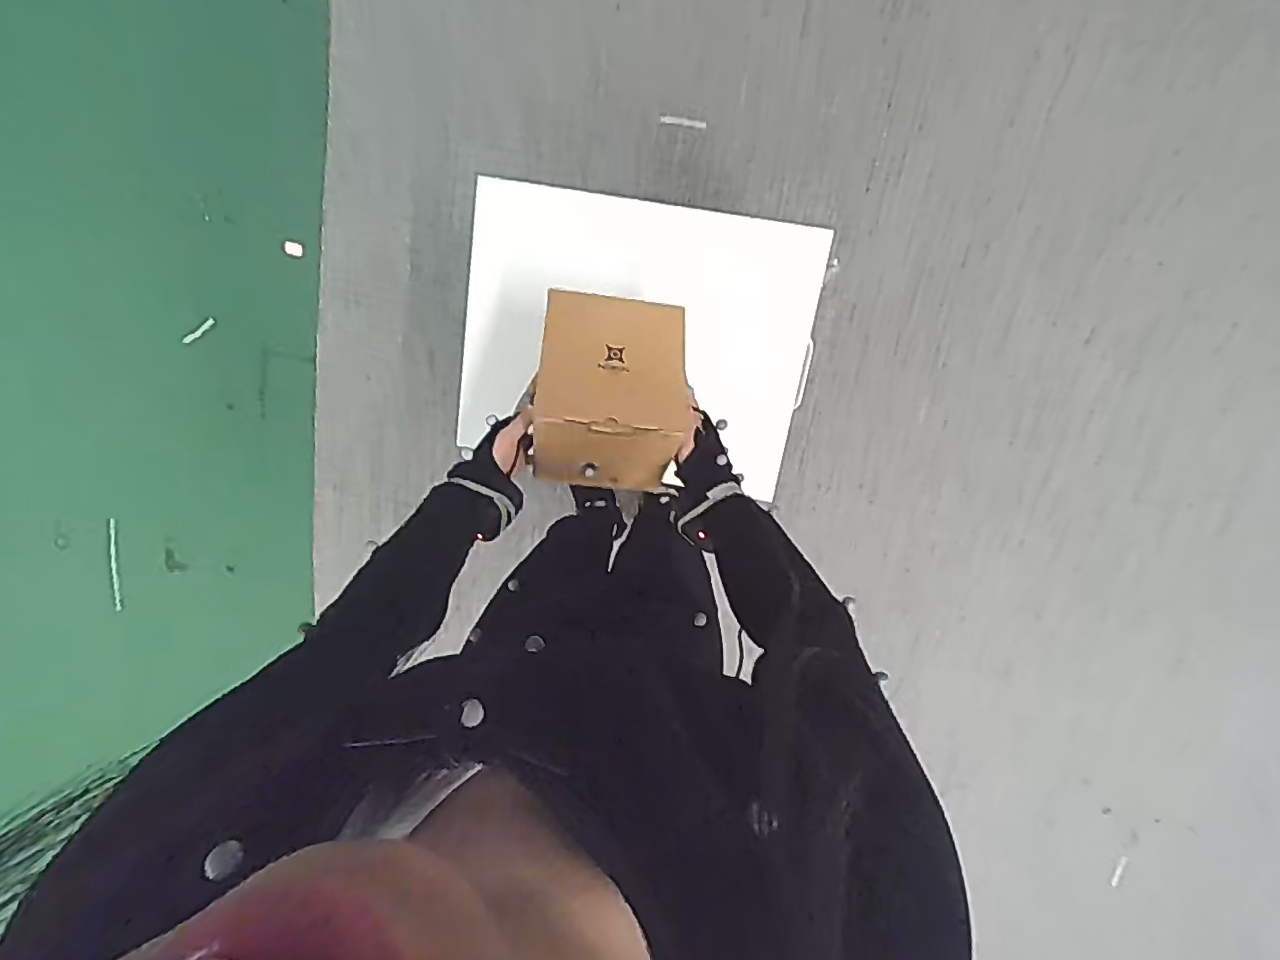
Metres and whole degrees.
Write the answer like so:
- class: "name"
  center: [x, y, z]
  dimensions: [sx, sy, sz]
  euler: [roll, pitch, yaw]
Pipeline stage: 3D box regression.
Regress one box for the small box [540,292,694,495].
- class: "small box"
  center: [-0.035, -0.099, 0.670]
  dimensions: [0.168, 0.176, 0.179]
  euler: [4, 65, -8]
